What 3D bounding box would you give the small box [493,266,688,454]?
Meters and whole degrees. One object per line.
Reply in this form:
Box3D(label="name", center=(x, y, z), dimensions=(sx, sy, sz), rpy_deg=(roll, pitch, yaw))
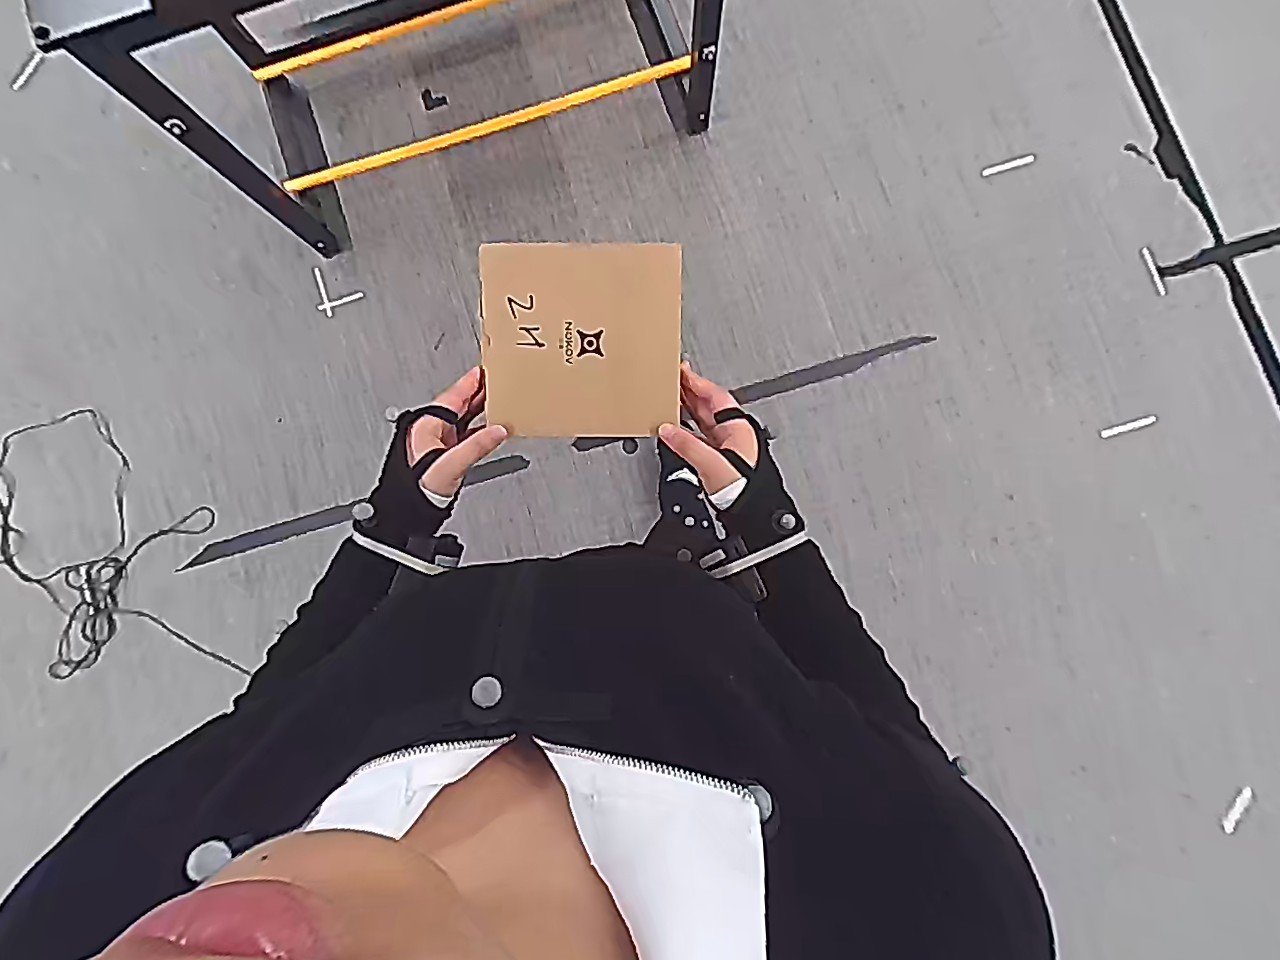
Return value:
Box3D(label="small box", center=(-0.046, -0.118, 0.569), dimensions=(0.179, 0.176, 0.168), rpy_deg=(1, 97, 1))
